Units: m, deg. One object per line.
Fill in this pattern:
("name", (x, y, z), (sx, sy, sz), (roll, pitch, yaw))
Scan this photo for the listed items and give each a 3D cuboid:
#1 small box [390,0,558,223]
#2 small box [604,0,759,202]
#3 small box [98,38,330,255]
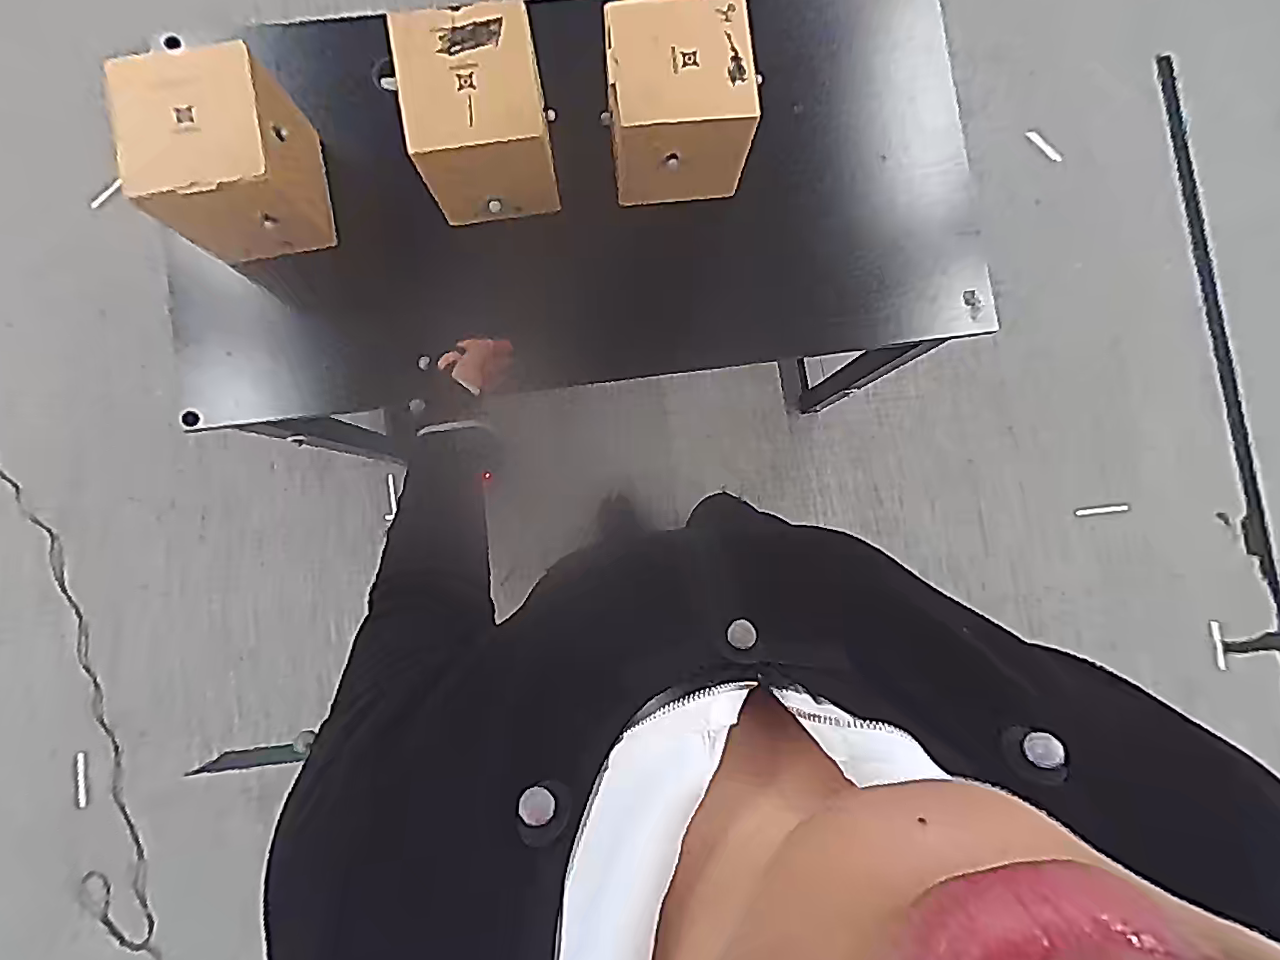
("small box", (-0.209, -0.476, 0.720), (0.168, 0.176, 0.179), (-9, 87, -2))
("small box", (0.050, -0.502, 0.731), (0.179, 0.176, 0.168), (-6, 86, -1))
("small box", (-0.536, -0.416, 0.706), (0.168, 0.176, 0.179), (-11, 86, -4))
